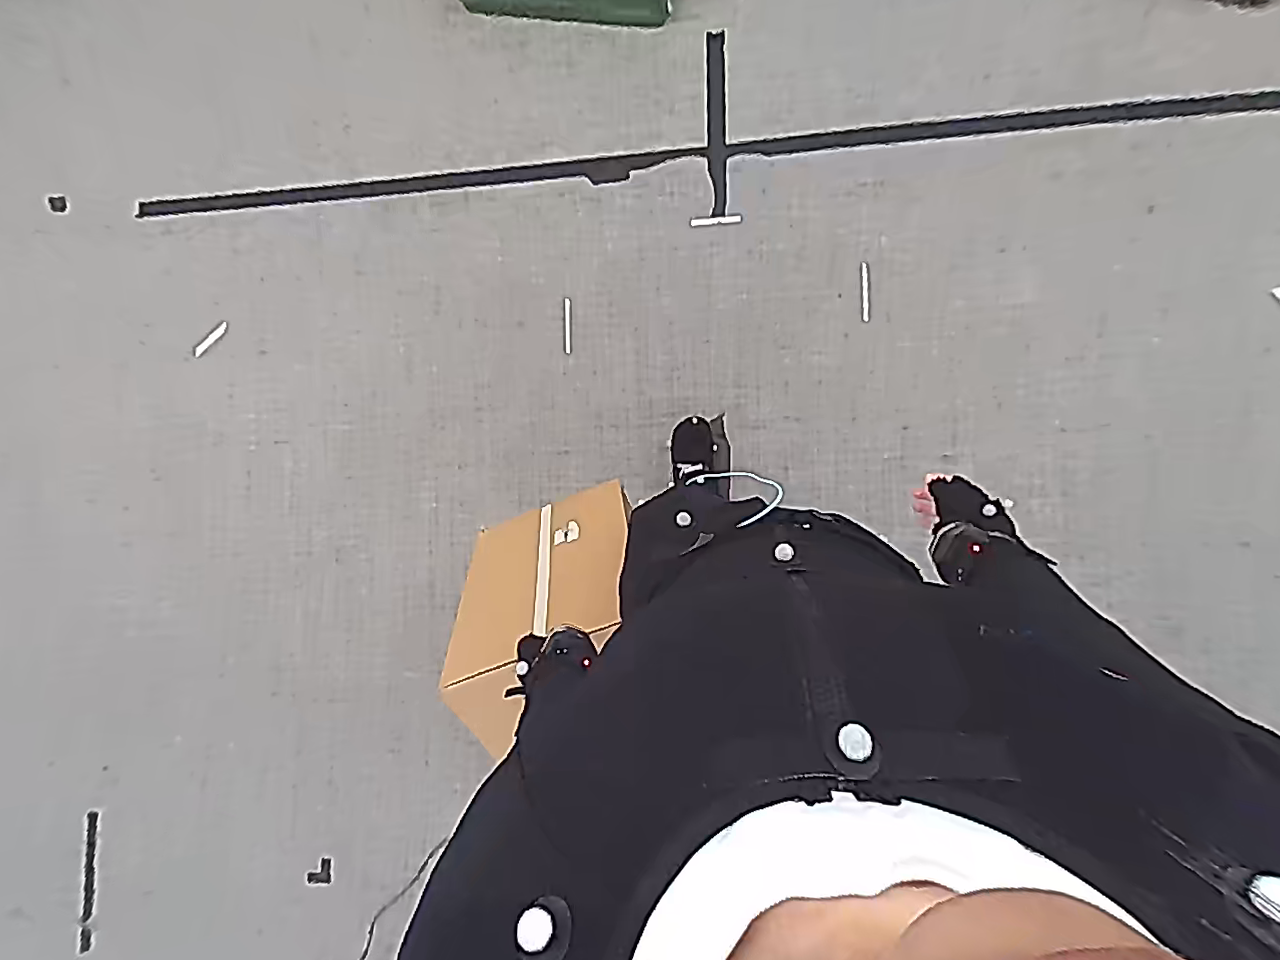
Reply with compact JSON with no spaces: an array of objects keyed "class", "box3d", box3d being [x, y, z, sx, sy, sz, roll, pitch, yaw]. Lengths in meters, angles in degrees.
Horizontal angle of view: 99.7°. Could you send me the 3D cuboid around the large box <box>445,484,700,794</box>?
[{"class":"large box","box3d":[-0.111,0.273,1.010,0.320,0.408,0.320,-20,117,4]}]
